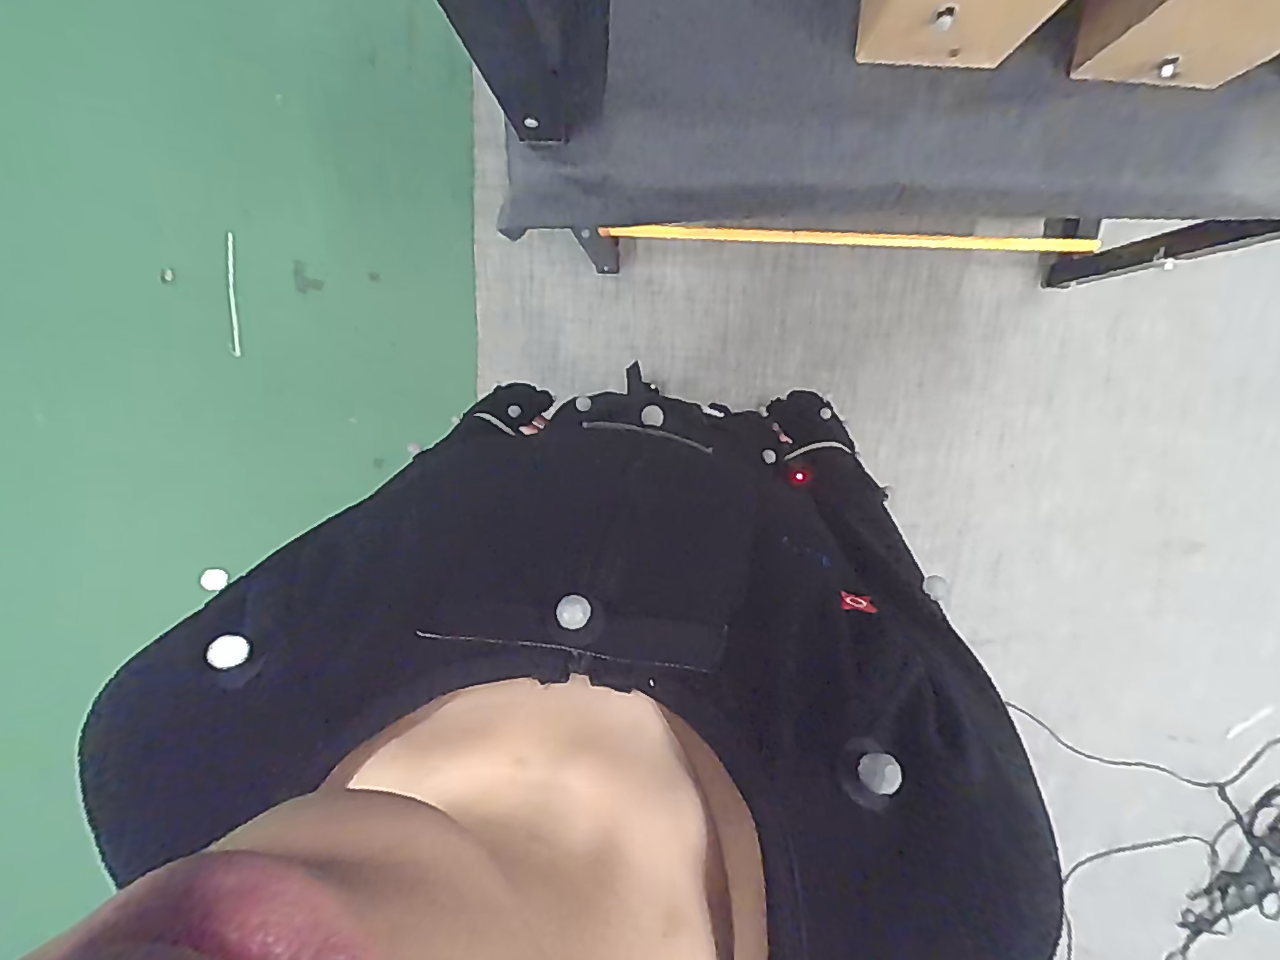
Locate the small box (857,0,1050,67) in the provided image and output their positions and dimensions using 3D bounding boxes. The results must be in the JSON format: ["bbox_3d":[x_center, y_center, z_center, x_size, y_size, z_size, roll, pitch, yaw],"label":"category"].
[{"bbox_3d":[0.334,-0.557,0.546,0.168,0.176,0.179,3,100,2],"label":"small box"}]
